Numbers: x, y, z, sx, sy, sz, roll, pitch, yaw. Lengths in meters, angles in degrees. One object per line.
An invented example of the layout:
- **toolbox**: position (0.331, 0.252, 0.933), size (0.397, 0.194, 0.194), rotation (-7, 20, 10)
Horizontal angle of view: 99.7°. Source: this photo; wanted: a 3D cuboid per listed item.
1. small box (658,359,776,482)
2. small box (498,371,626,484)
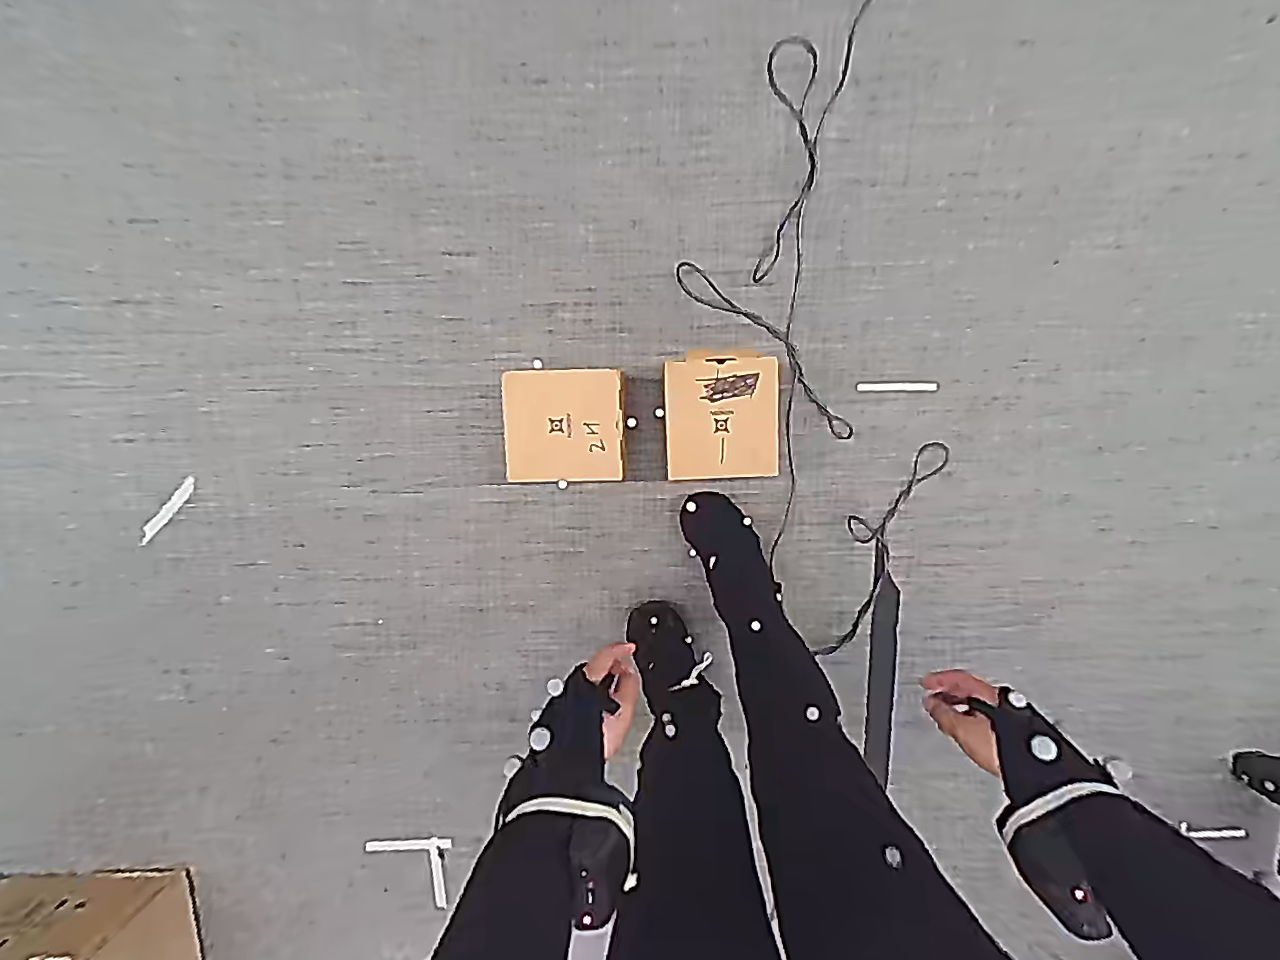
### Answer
- **small box**: position (0.115, -0.096, 0.863), size (0.168, 0.176, 0.179), rotation (-2, 99, 1)
- **small box**: position (-0.116, -0.087, 0.868), size (0.179, 0.176, 0.168), rotation (0, 99, 2)
